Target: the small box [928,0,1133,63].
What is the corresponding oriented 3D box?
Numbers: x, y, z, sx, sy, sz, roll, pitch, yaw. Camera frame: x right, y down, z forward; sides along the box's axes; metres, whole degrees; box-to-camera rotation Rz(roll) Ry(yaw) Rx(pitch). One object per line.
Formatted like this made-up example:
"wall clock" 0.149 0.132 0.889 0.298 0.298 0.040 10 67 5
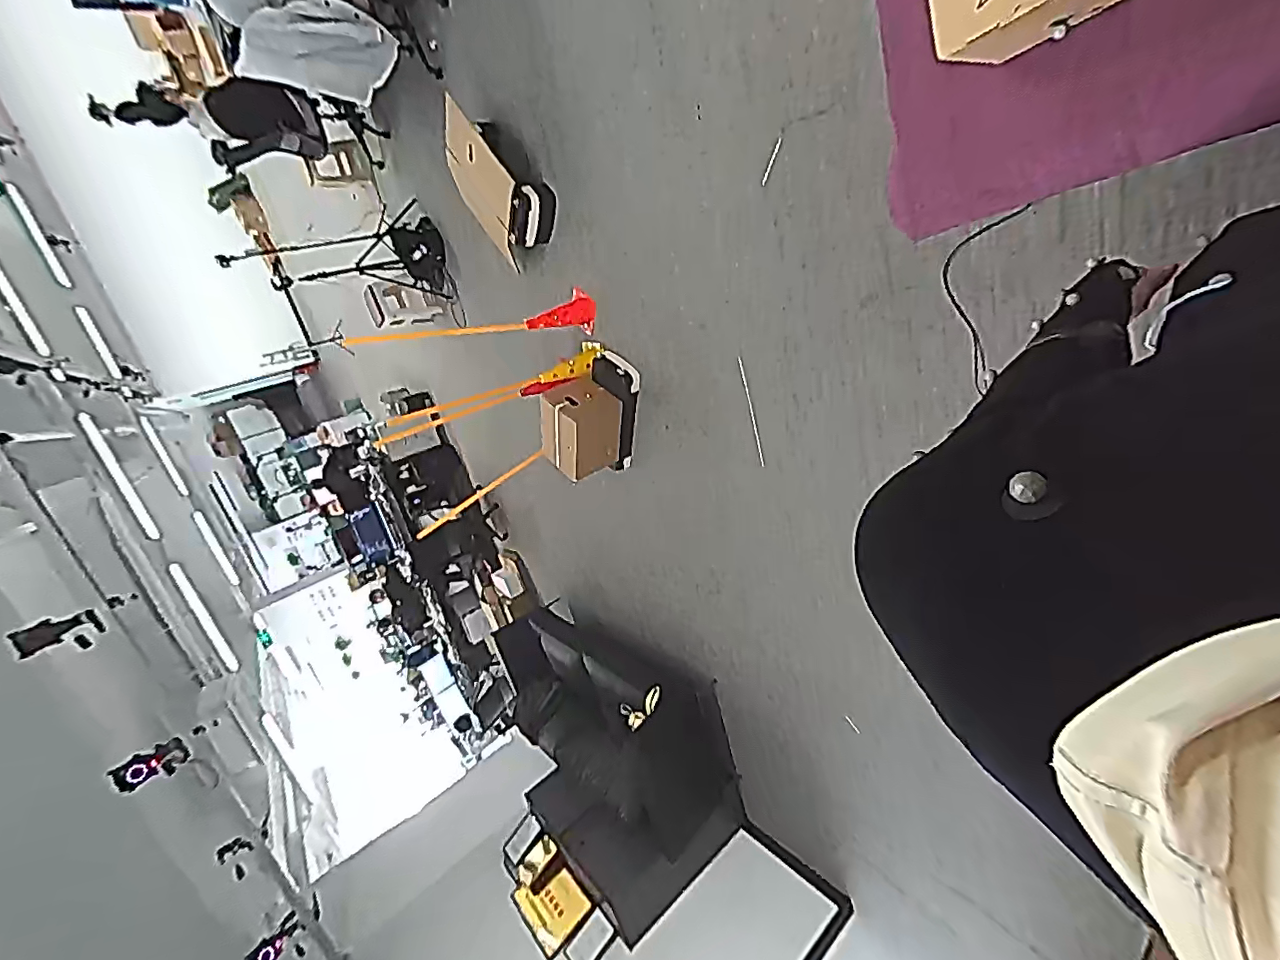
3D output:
"small box" 0.419 -0.575 0.564 0.168 0.176 0.179 4 116 55
